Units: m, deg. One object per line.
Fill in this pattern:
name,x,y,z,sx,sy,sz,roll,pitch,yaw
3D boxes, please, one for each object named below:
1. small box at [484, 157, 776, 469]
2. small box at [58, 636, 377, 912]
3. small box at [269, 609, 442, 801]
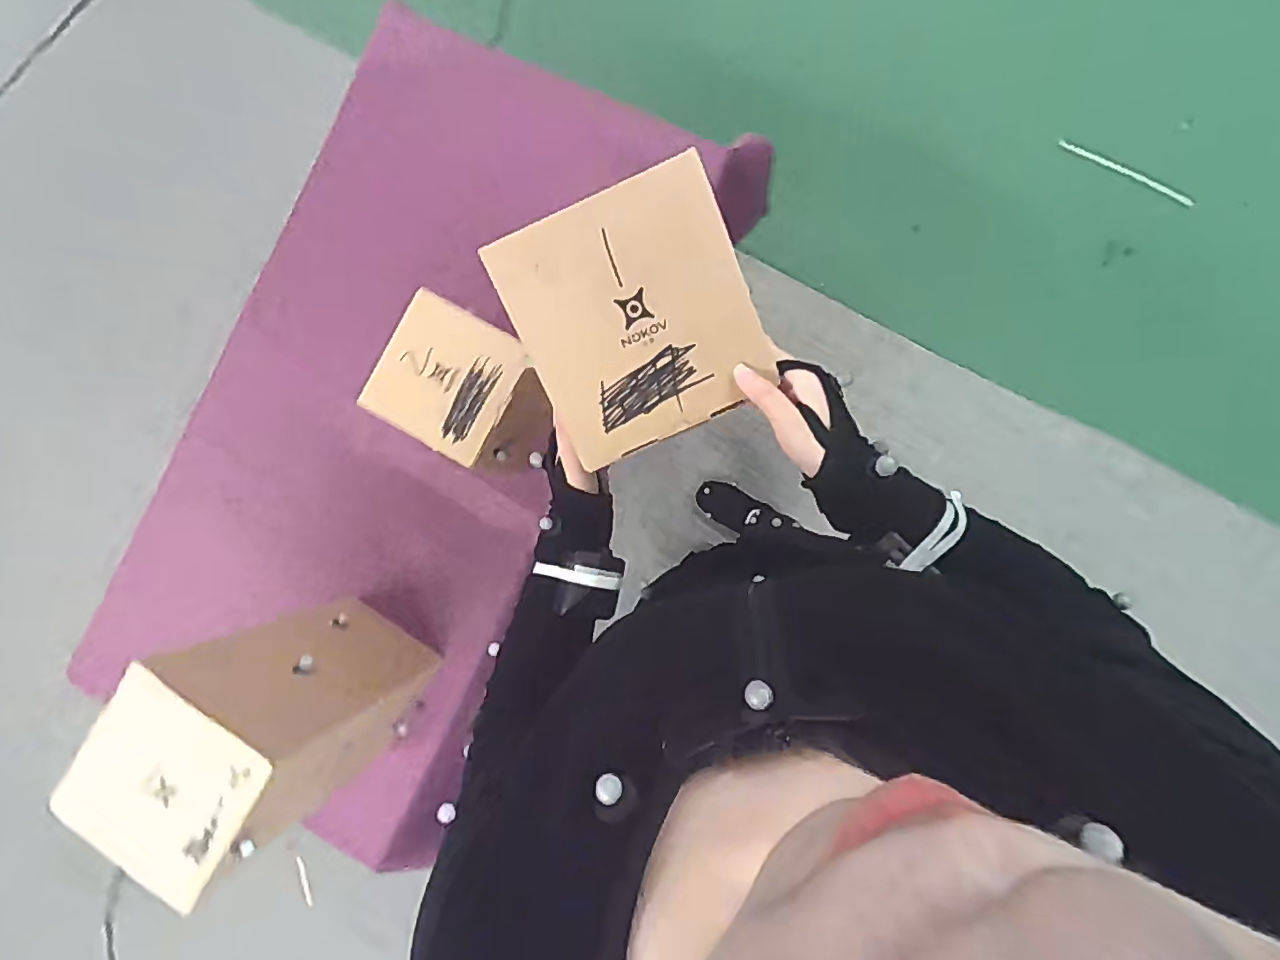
small box,-0.007,-0.134,0.468,0.168,0.176,0.179,-23,103,2
small box,-0.433,0.289,0.582,0.179,0.176,0.168,31,92,8
small box,-0.415,0.295,0.747,0.179,0.176,0.168,31,91,6
